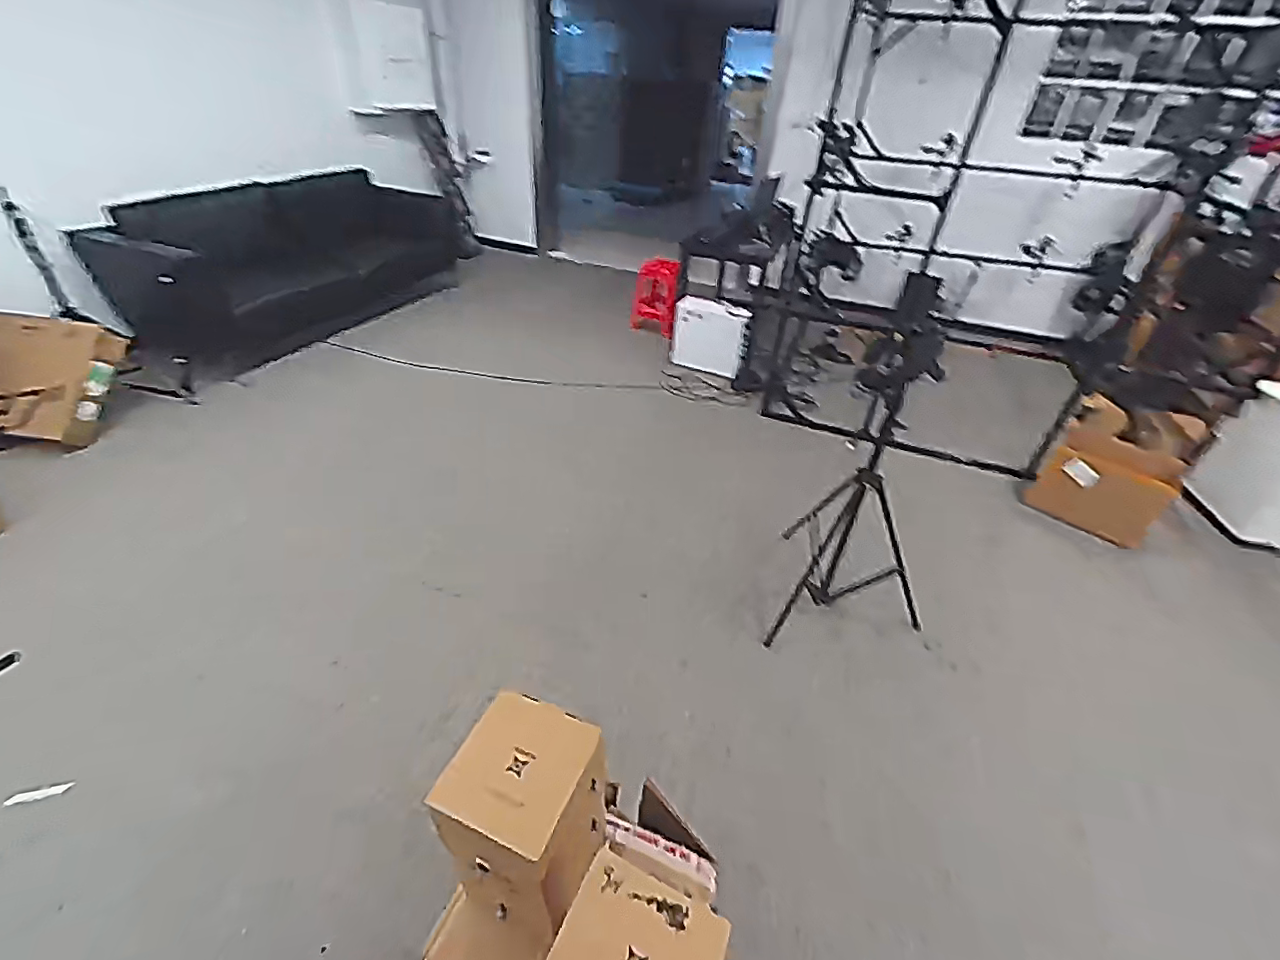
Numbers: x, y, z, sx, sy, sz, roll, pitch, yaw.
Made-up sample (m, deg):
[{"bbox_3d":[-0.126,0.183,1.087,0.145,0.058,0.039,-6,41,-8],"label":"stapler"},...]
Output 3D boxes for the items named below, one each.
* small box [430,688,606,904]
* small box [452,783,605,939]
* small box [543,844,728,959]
[{"bbox_3d":[-0.159,0.436,0.755,0.168,0.176,0.179,15,39,18],"label":"small box"},{"bbox_3d":[-0.166,0.565,0.853,0.168,0.176,0.179,15,39,17],"label":"small box"},{"bbox_3d":[-0.016,0.562,0.599,0.168,0.176,0.179,19,40,18],"label":"small box"}]
